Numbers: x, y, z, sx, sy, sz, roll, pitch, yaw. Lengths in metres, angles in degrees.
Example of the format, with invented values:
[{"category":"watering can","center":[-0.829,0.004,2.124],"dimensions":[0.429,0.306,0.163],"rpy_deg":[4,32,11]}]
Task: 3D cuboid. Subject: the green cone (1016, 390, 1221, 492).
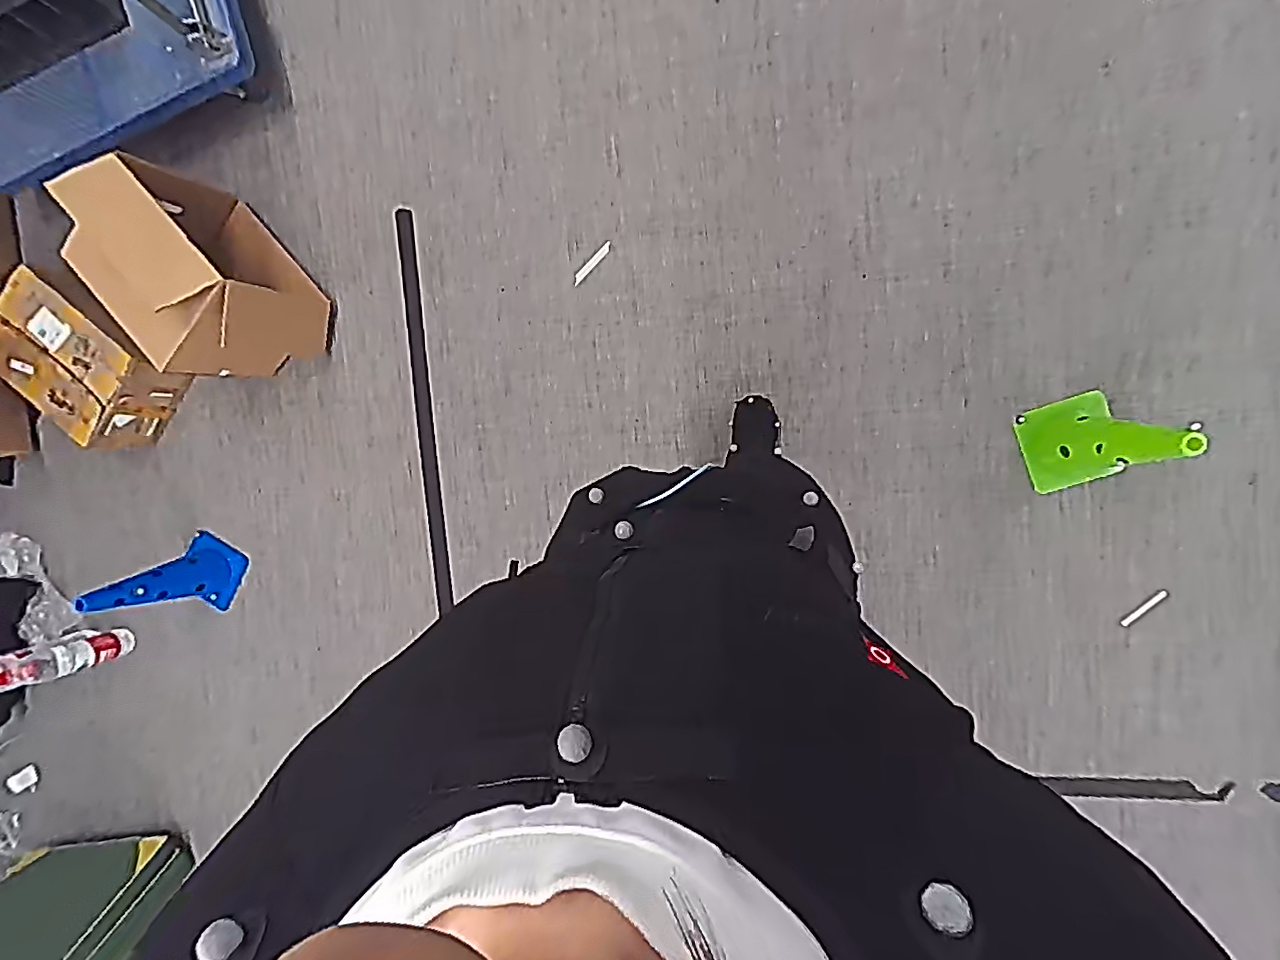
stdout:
[{"category":"green cone","center":[0.981,-0.075,1.090],"dimensions":[0.202,0.368,0.200],"rpy_deg":[-20,92,9]}]
